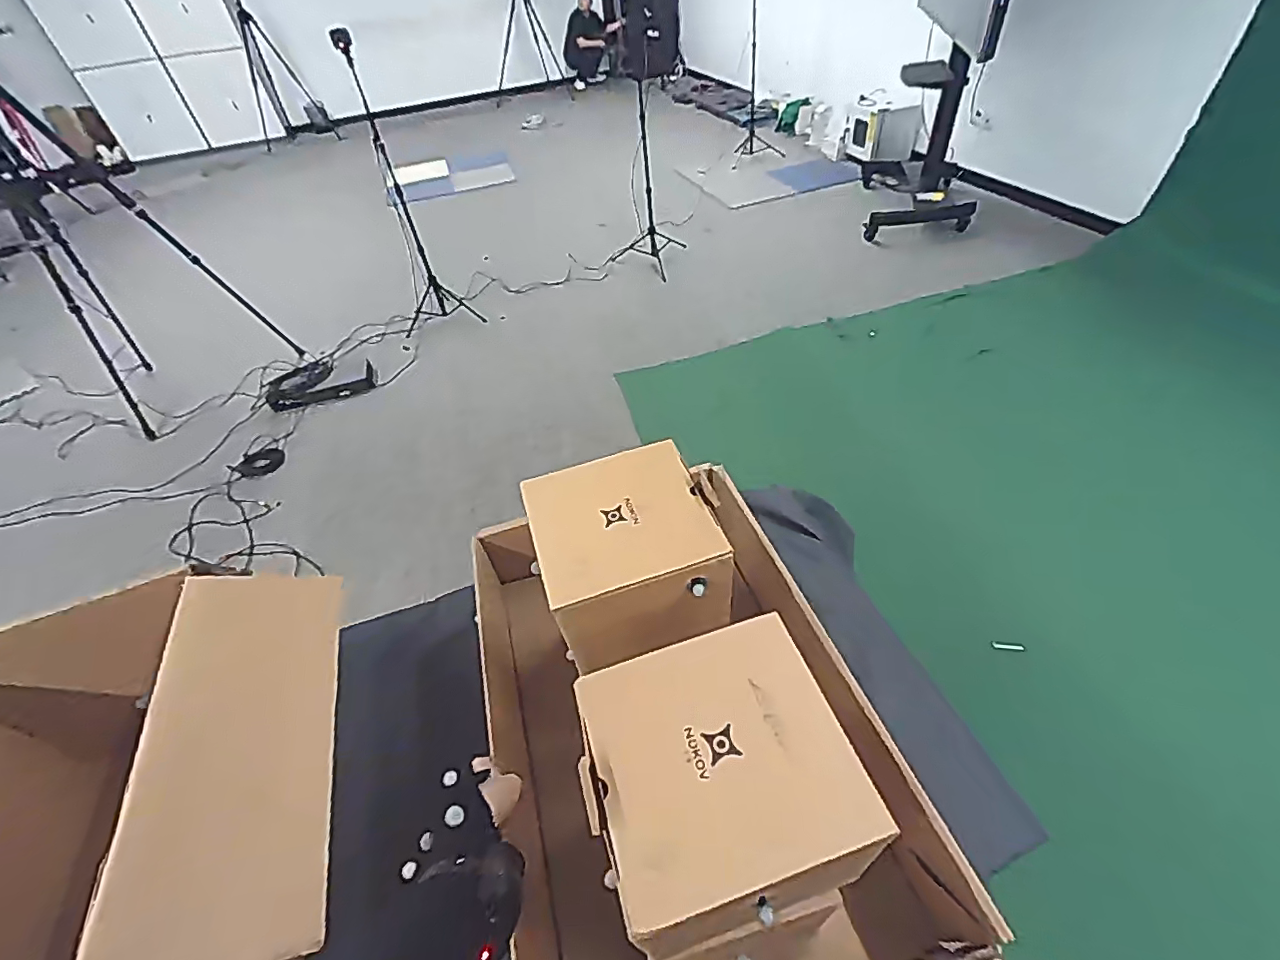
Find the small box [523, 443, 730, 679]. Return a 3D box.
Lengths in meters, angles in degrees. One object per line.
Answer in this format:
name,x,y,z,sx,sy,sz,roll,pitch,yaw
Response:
small box,-0.013,0.092,0.595,0.179,0.176,0.168,-17,48,-9

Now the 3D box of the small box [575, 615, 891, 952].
small box,0.062,0.244,0.434,0.179,0.176,0.168,-16,46,-8
